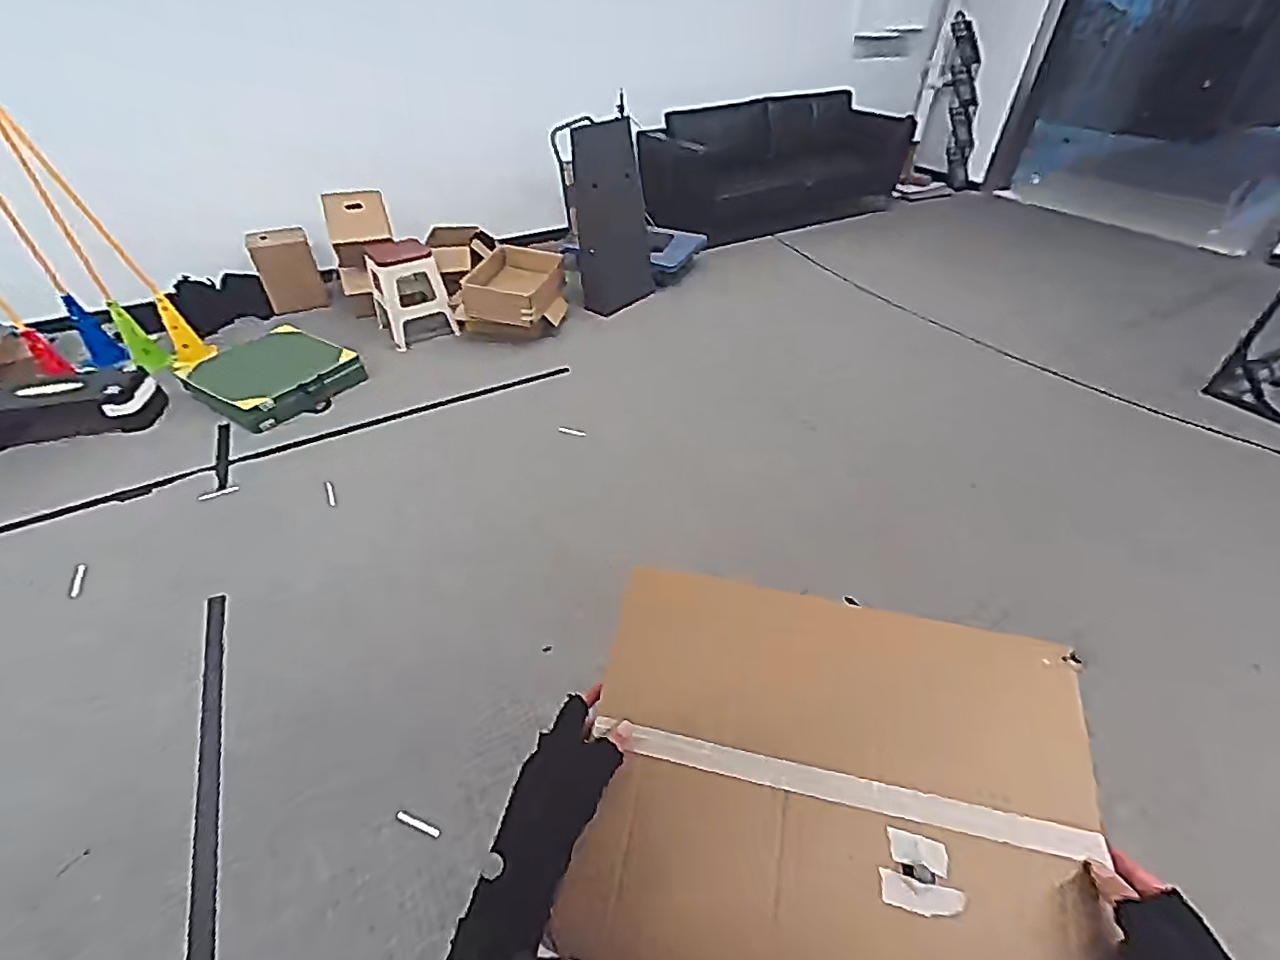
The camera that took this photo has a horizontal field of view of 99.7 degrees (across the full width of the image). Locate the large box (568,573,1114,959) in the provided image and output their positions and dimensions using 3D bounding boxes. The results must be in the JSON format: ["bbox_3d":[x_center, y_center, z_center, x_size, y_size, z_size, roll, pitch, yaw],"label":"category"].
[{"bbox_3d":[0.175,0.331,0.587,0.408,0.320,0.320,10,61,10],"label":"large box"}]
